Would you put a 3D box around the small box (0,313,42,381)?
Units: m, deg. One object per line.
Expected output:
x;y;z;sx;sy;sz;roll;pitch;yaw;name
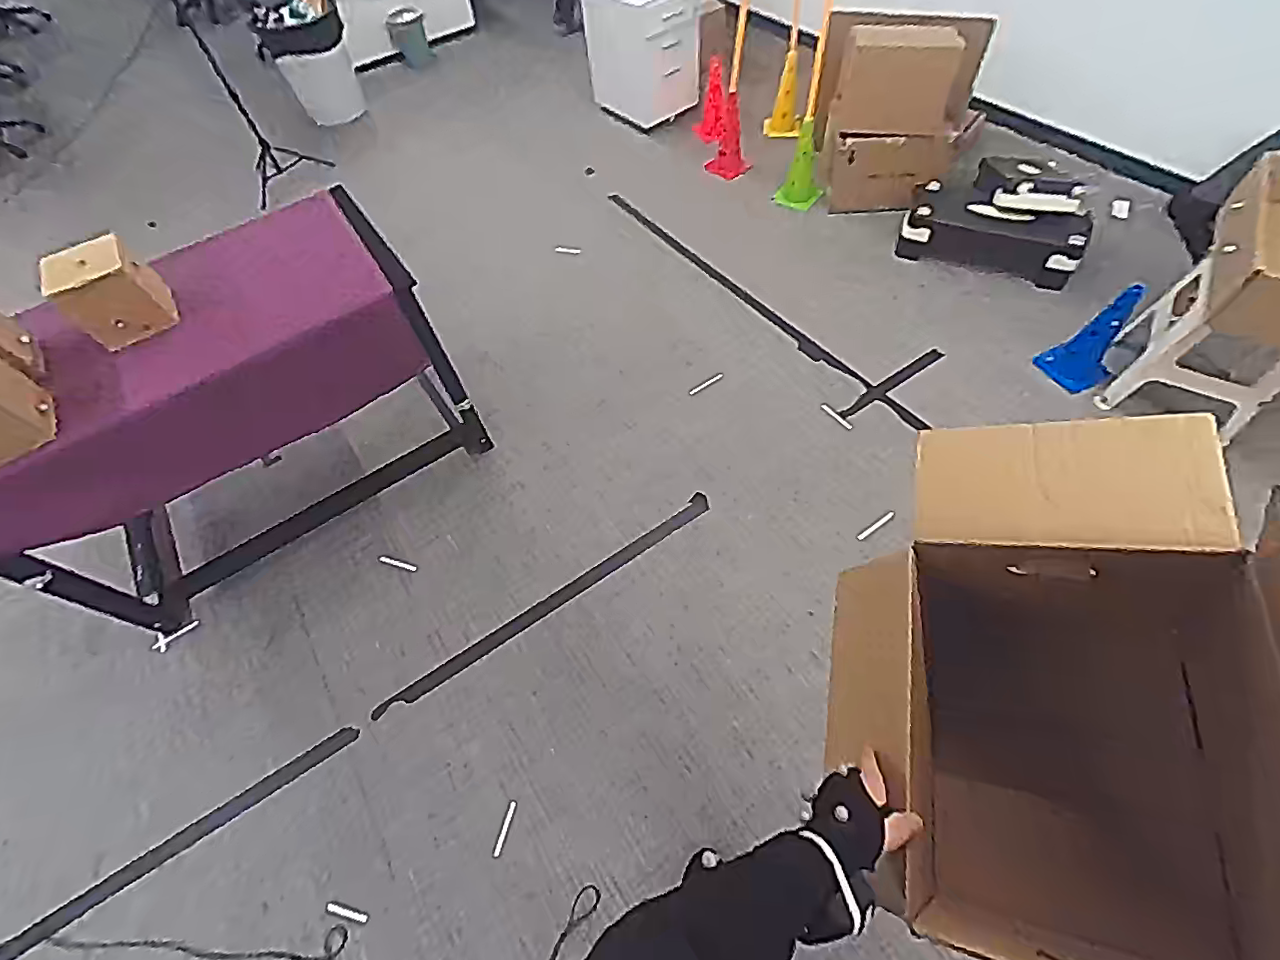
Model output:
-1.534;-0.296;1.223;0.179;0.176;0.168;-35;62;-17;small box

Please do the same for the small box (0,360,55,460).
-1.383;-0.141;1.114;0.179;0.176;0.168;-33;61;-15;small box
